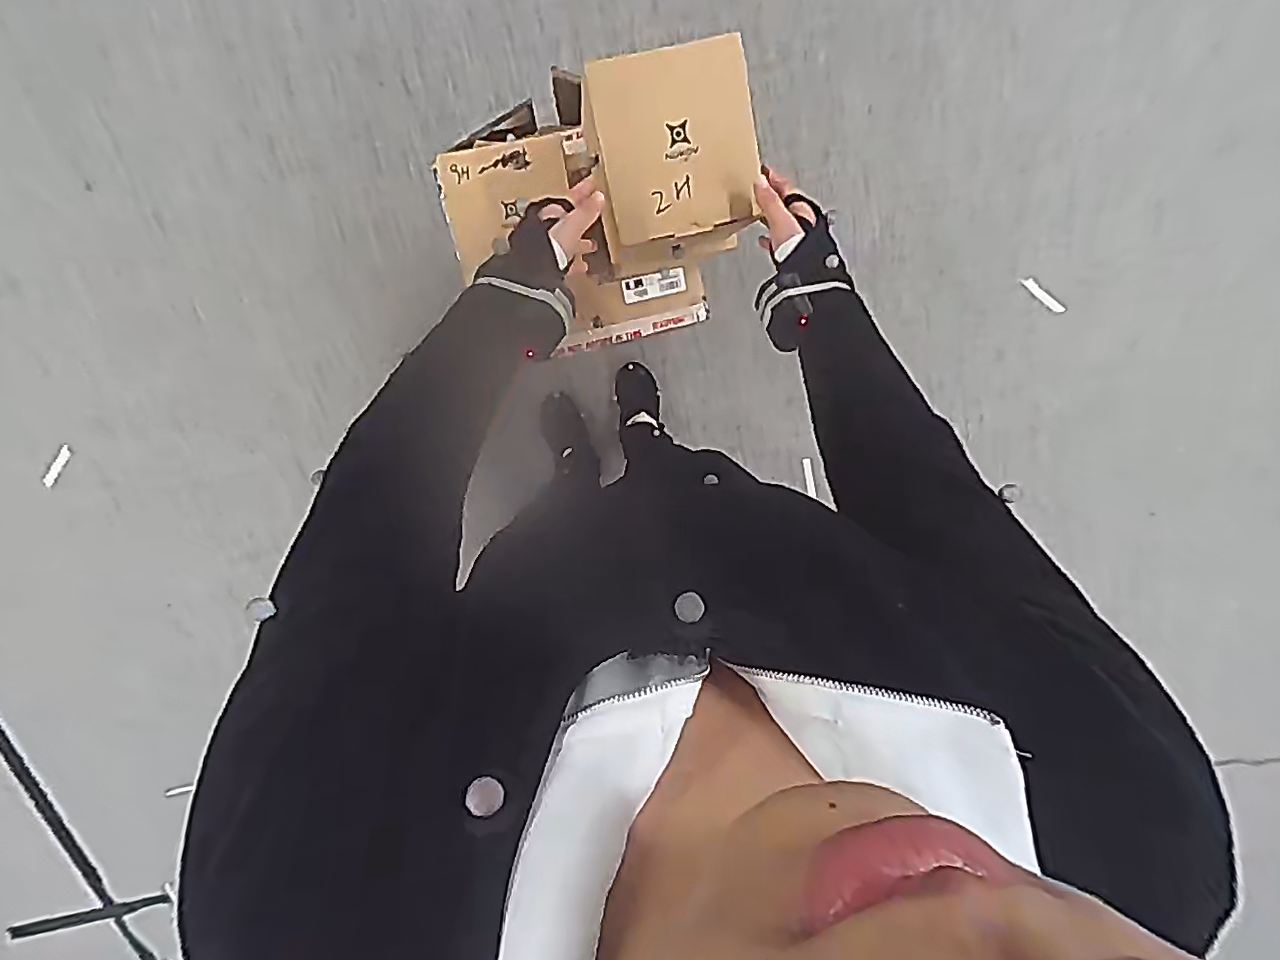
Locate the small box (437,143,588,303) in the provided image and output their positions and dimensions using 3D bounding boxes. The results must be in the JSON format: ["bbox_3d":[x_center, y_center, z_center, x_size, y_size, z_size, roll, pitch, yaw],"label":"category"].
[{"bbox_3d":[-0.173,-0.365,0.798,0.168,0.176,0.179,-10,108,0],"label":"small box"}]

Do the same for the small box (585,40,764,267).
[{"bbox_3d":[0.032,-0.368,0.644,0.168,0.176,0.179,-14,107,-3],"label":"small box"}]

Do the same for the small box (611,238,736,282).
[{"bbox_3d":[0.033,-0.404,0.806,0.168,0.176,0.179,-12,107,-3],"label":"small box"}]
